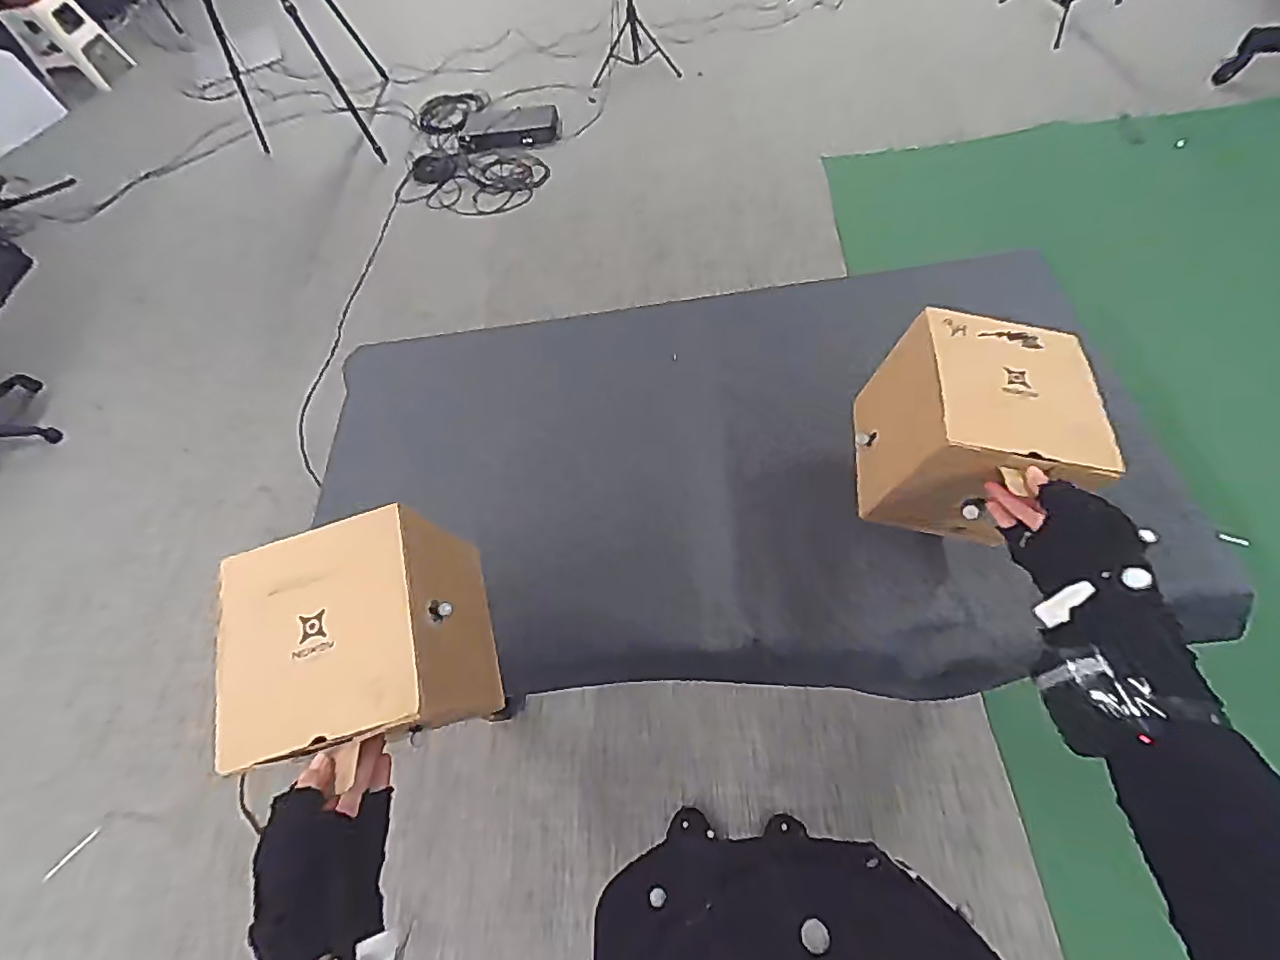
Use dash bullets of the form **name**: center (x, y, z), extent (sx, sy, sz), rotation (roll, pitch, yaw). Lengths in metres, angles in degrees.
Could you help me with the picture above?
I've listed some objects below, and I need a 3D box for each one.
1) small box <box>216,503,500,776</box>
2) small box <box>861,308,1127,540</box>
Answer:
- **small box**: center (-0.245, 0.147, 0.501), extent (0.168, 0.176, 0.179), rotation (-18, 67, 1)
- **small box**: center (0.356, -0.050, 0.586), extent (0.168, 0.176, 0.179), rotation (11, 62, -1)
